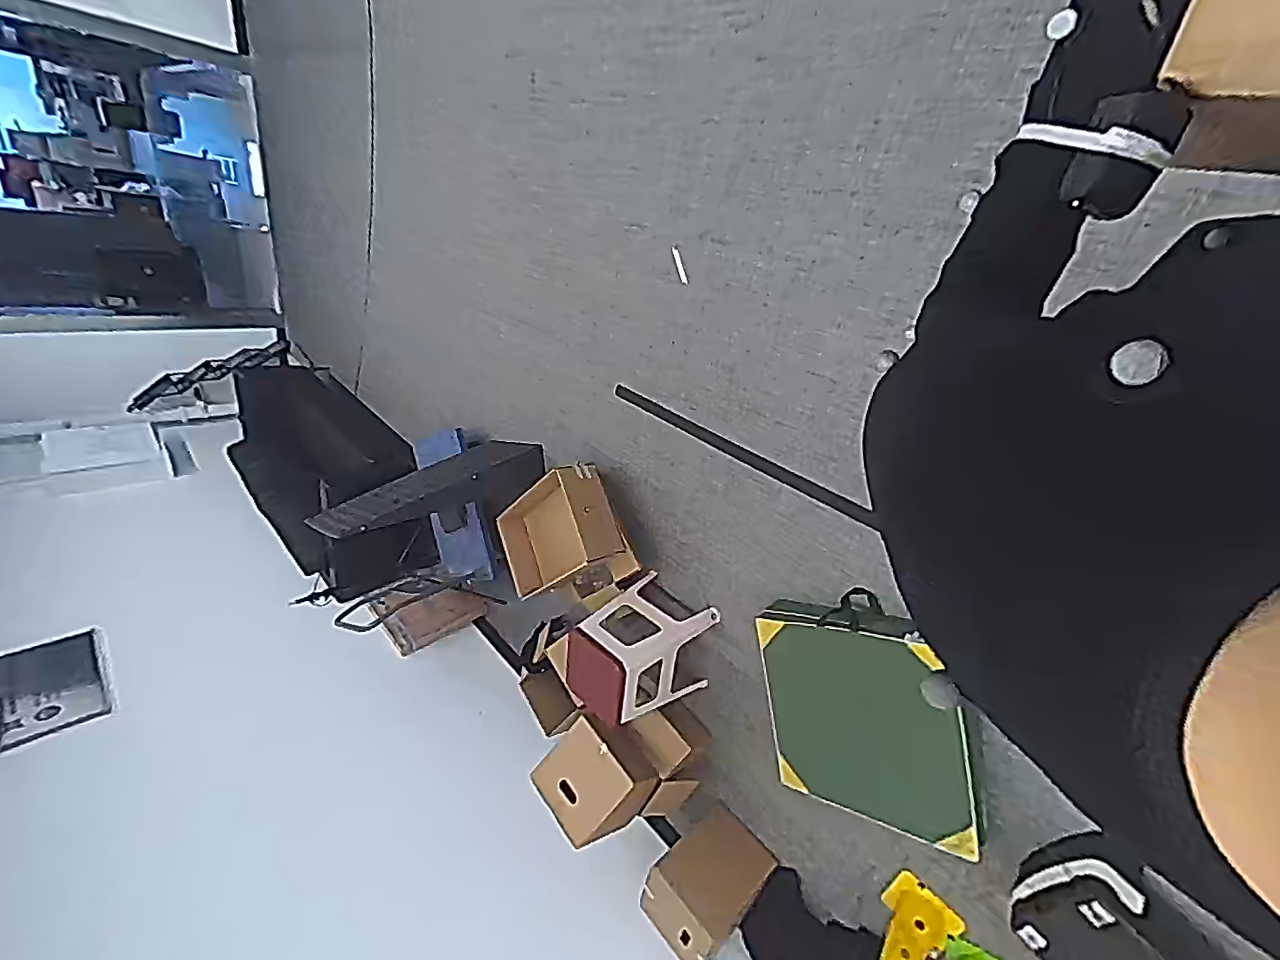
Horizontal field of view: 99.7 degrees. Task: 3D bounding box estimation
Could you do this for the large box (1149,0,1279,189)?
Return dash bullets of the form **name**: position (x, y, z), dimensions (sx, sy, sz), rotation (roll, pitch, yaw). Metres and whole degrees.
- **large box**: position (0.595, -0.338, 0.284), dimensions (0.408, 0.320, 0.320), rotation (27, 123, 33)
